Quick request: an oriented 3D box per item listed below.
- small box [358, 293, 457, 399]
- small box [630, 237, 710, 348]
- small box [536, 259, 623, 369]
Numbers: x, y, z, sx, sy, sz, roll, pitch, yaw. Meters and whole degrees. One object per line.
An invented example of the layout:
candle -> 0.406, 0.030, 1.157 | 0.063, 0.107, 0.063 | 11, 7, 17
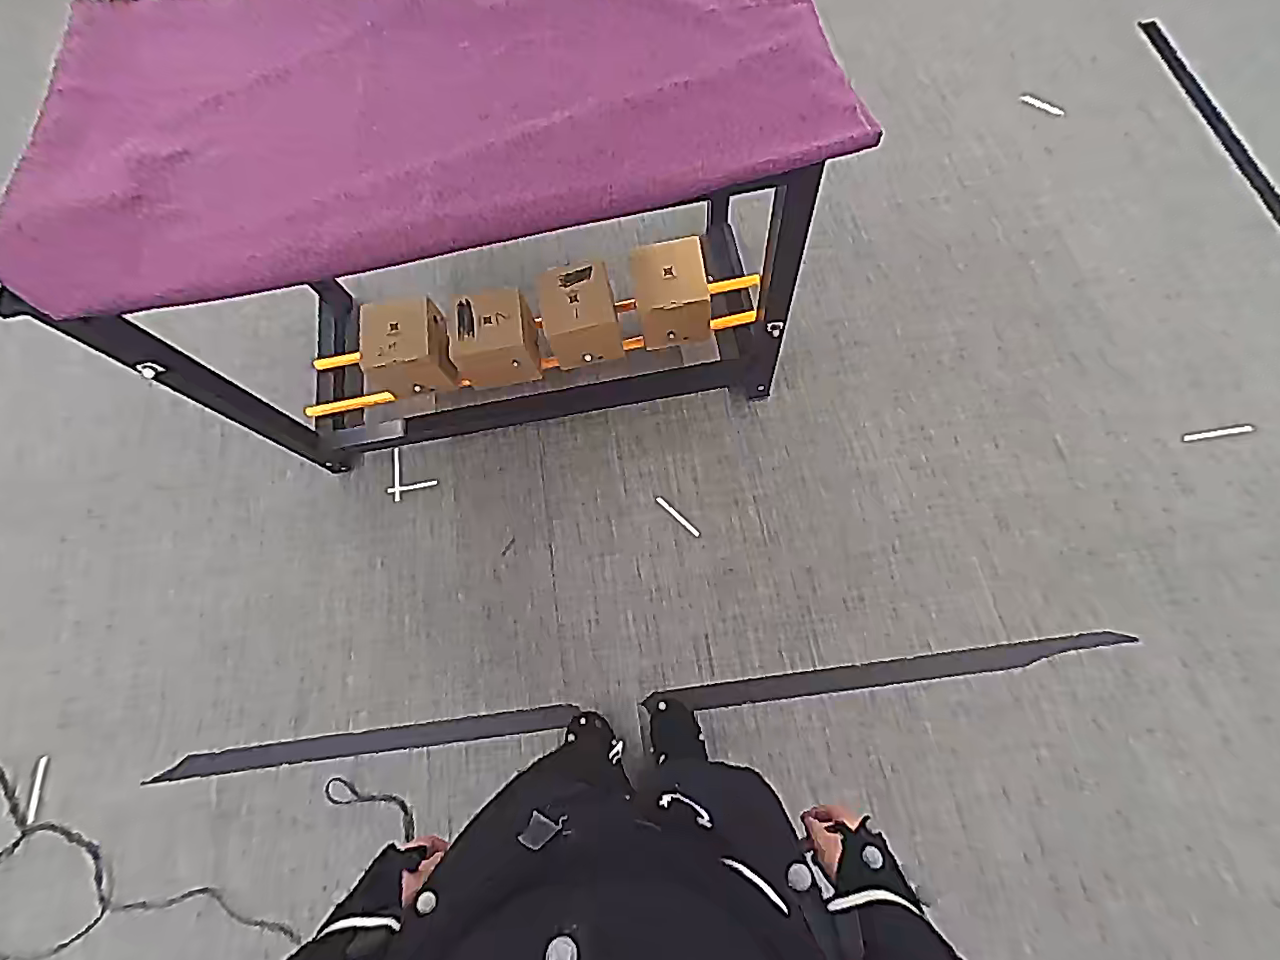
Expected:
small box -> -0.563, -0.323, 1.325 | 0.168, 0.176, 0.179 | -10, 73, 3
small box -> 0.072, -0.443, 1.297 | 0.168, 0.176, 0.179 | -9, 73, 5
small box -> -0.143, -0.396, 1.308 | 0.168, 0.176, 0.179 | -12, 74, 3
